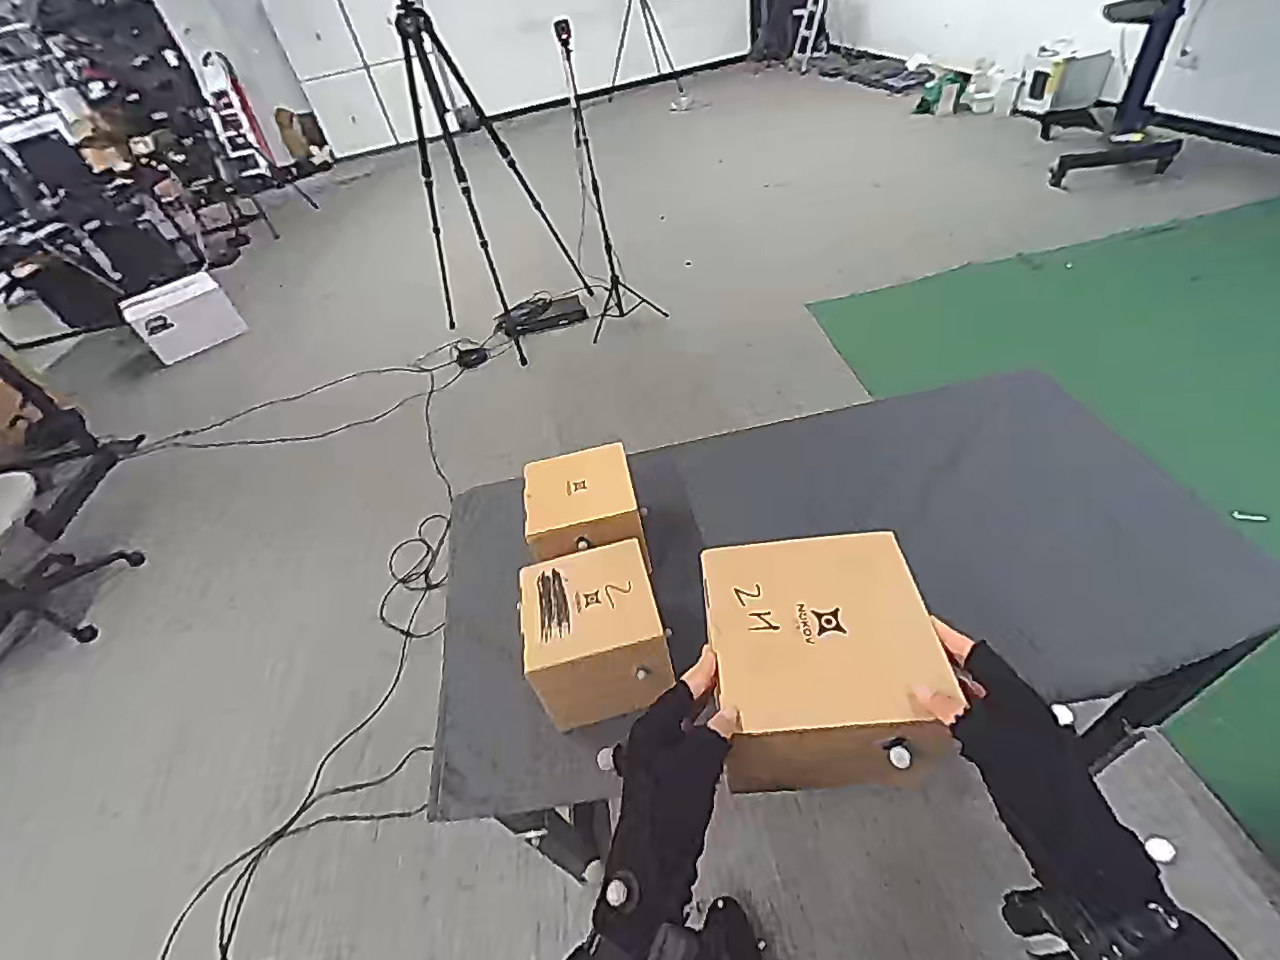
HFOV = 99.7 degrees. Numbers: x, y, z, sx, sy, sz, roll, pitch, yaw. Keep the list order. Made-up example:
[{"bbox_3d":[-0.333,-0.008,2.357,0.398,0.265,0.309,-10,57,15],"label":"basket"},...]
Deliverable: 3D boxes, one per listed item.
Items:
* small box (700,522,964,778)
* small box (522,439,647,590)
[{"bbox_3d":[0.152,0.160,0.497,0.179,0.176,0.168,-7,47,6],"label":"small box"},{"bbox_3d":[-0.090,0.062,0.919,0.179,0.176,0.168,-14,44,0],"label":"small box"}]
